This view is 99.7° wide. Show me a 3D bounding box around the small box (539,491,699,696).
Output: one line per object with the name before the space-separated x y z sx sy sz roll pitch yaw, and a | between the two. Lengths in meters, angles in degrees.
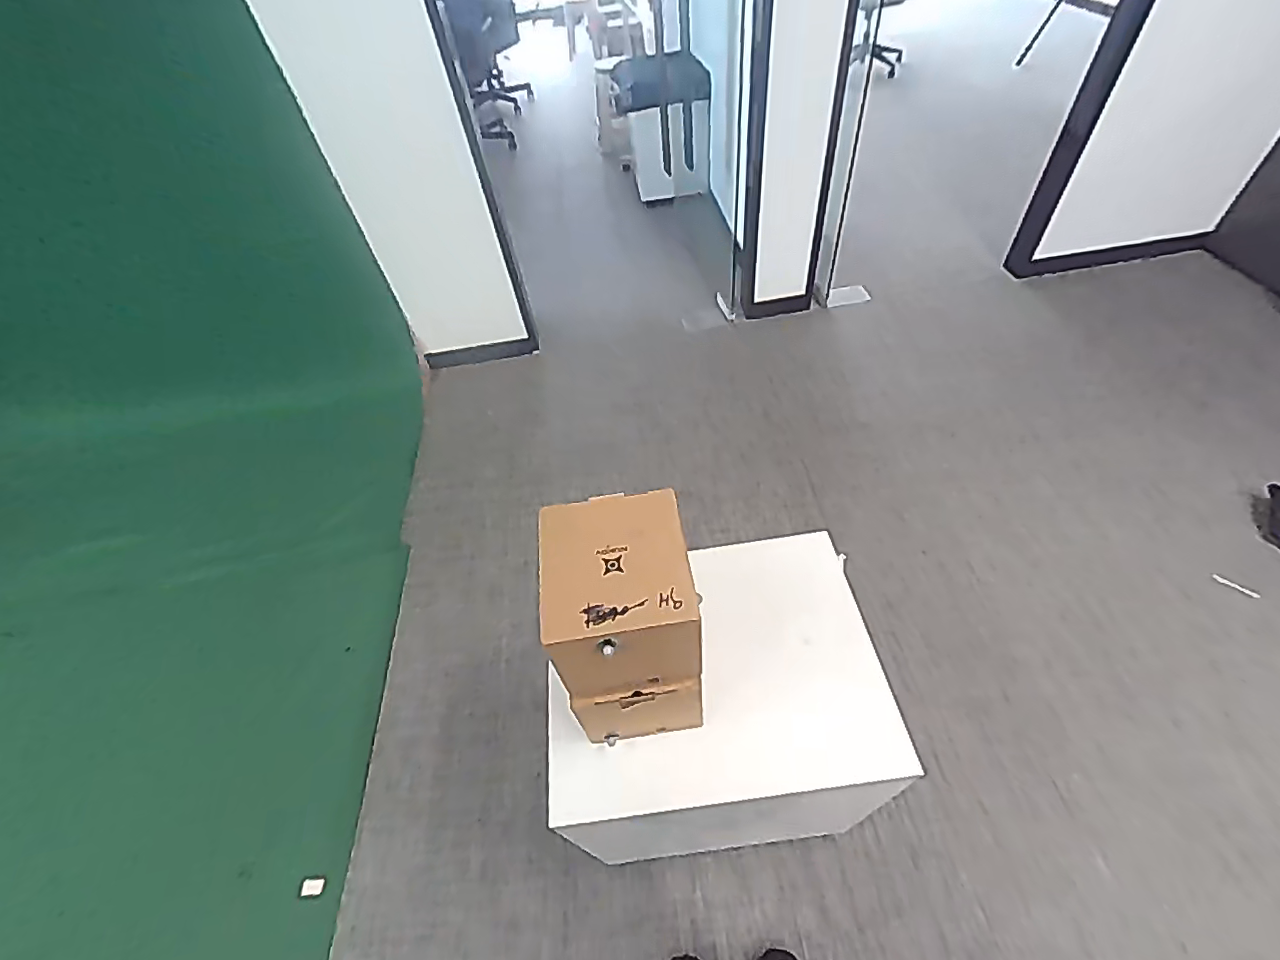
small box | -0.023 0.140 0.665 0.168 0.176 0.179 -9 49 0

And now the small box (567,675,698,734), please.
small box | -0.010 0.253 0.783 0.168 0.176 0.179 -9 49 0
